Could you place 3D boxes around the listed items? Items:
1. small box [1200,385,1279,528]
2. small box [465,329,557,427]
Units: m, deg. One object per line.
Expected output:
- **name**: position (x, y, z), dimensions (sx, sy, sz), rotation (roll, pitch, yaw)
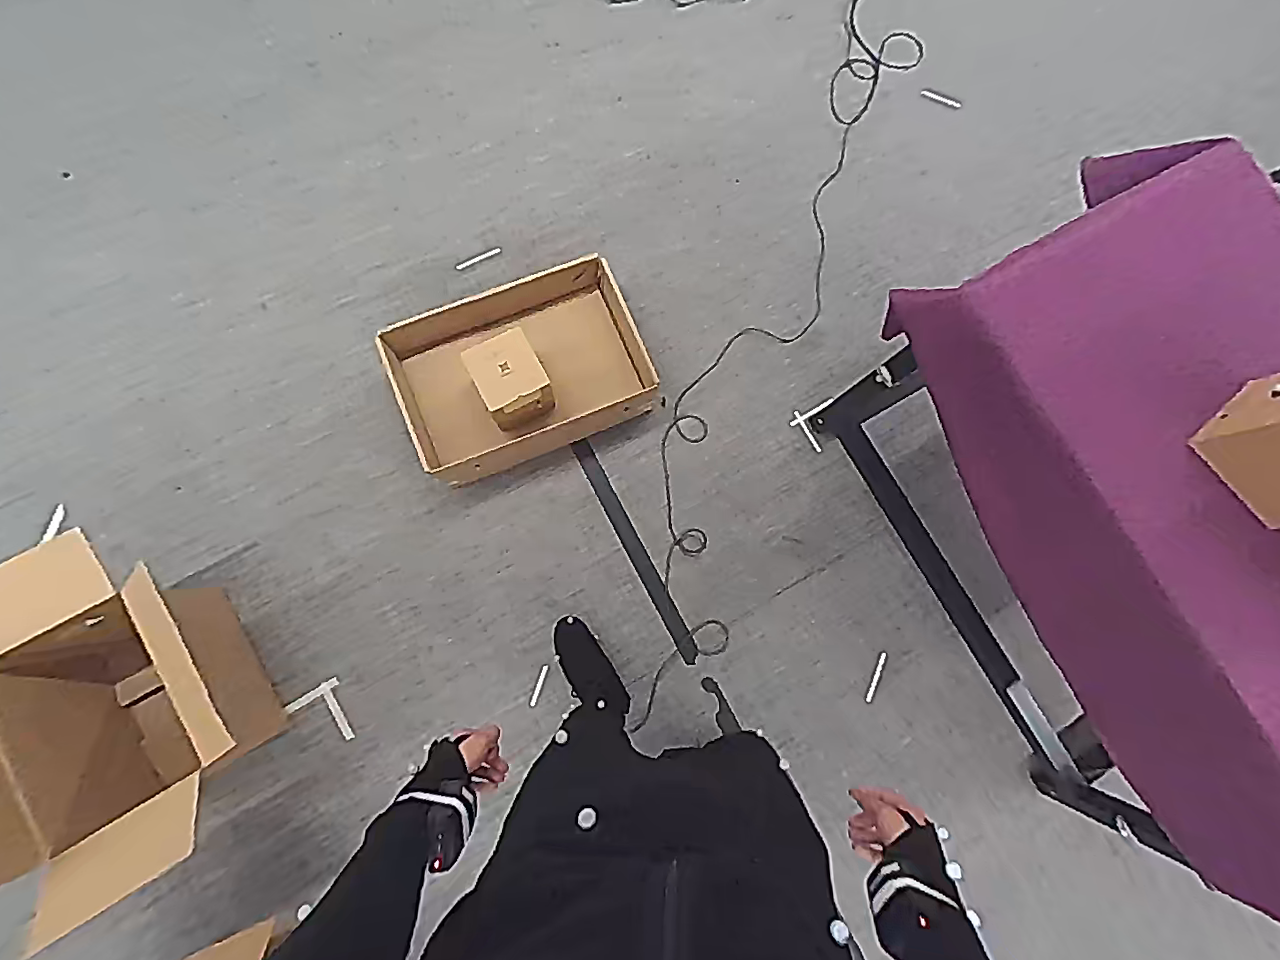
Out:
- **small box**: position (0.971, -0.046, 0.758), dimensions (0.168, 0.176, 0.179), rotation (-38, 85, -8)
- **small box**: position (-0.325, -0.253, 1.403), dimensions (0.168, 0.176, 0.179), rotation (-27, 83, -9)
